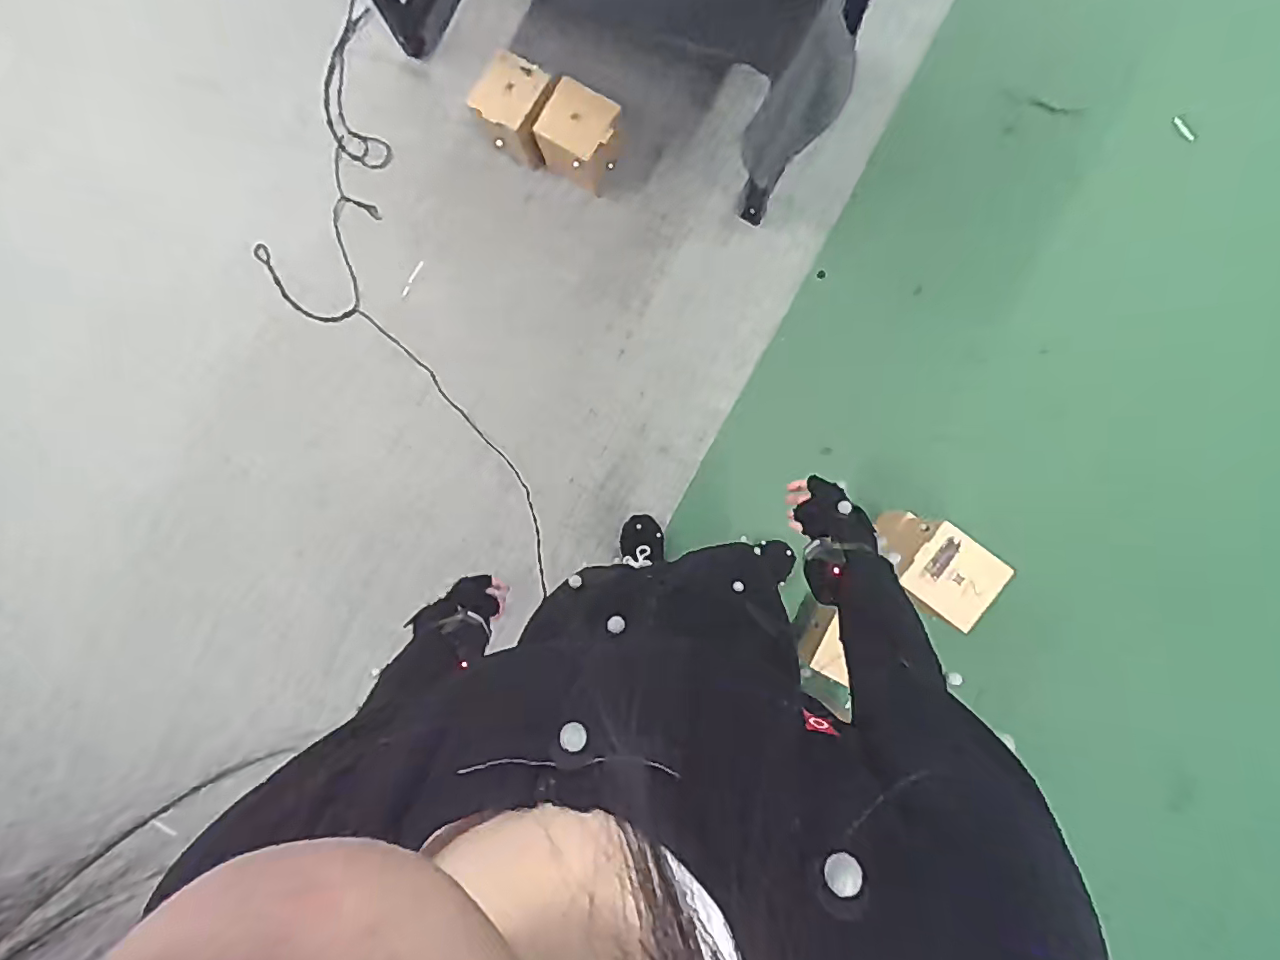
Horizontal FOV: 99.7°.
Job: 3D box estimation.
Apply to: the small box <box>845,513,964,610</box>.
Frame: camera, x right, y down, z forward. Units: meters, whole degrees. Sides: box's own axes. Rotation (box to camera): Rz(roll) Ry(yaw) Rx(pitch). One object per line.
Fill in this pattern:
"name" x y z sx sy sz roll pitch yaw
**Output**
"small box" 0.653 0.194 1.358 0.179 0.176 0.168 39 90 5
